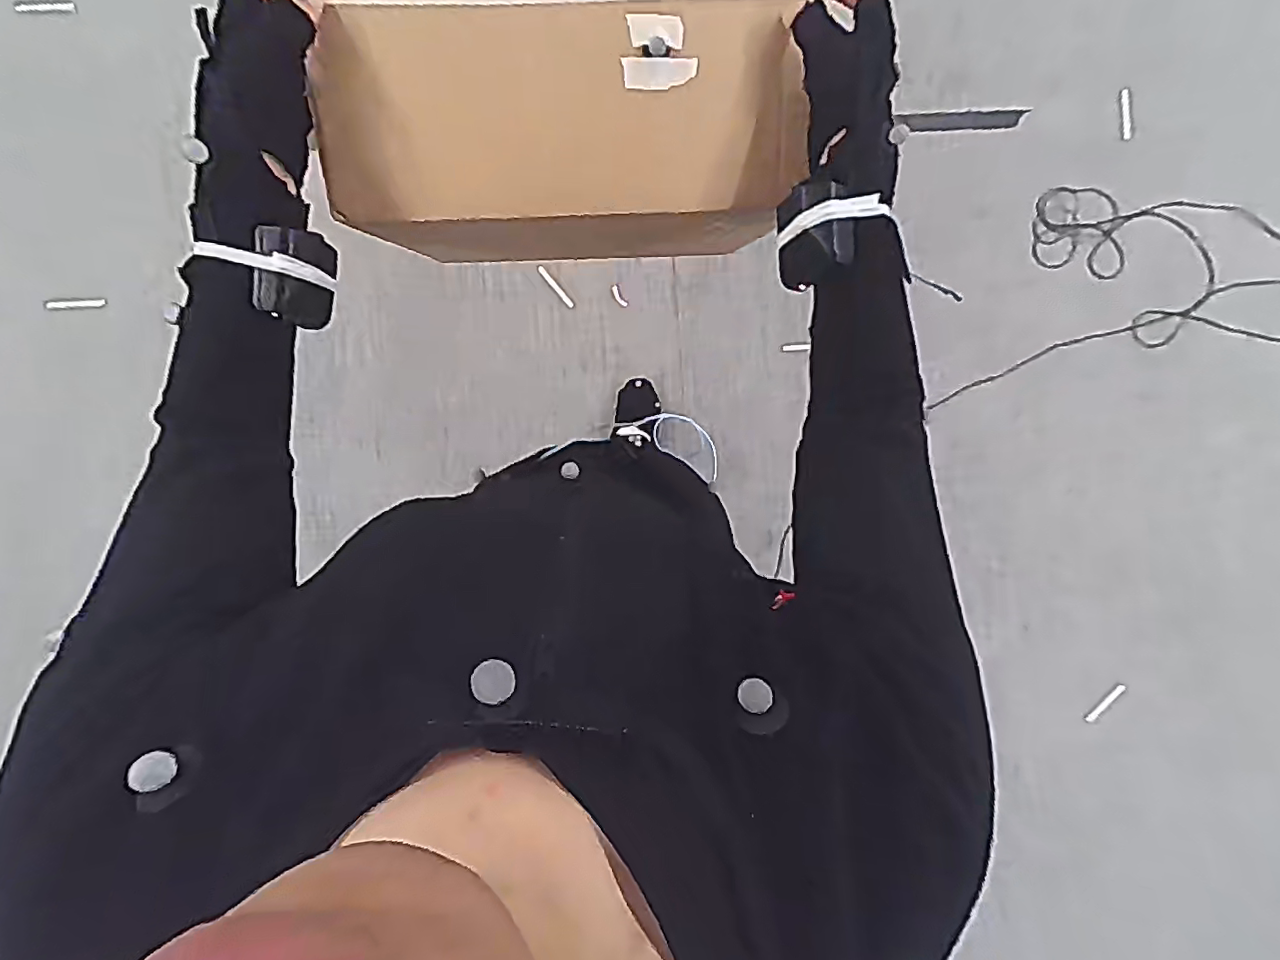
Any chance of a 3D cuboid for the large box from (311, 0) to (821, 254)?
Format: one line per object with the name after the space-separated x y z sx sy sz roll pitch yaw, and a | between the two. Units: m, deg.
-0.065 -0.427 0.560 0.408 0.320 0.320 -4 107 -4 | large box
